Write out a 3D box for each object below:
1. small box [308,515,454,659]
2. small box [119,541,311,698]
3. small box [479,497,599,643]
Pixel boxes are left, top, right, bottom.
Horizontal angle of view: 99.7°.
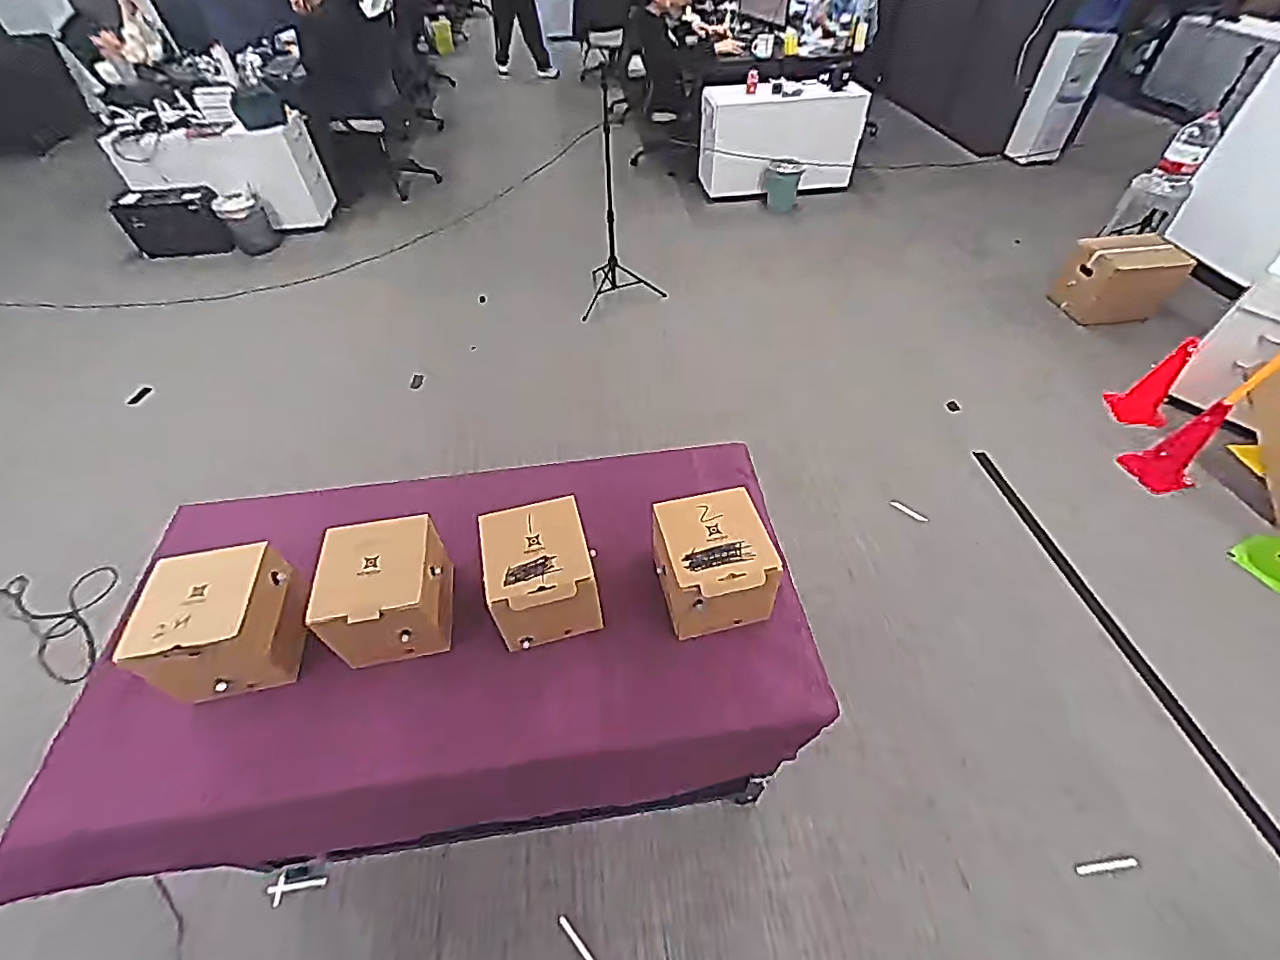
[{"bbox_3d":[-0.421,0.186,0.913,0.168,0.176,0.179,-8,48,-6],"label":"small box"},{"bbox_3d":[-0.666,0.227,0.879,0.168,0.176,0.179,-10,49,-6],"label":"small box"},{"bbox_3d":[-0.169,0.160,0.927,0.168,0.176,0.179,-12,49,-10],"label":"small box"}]
